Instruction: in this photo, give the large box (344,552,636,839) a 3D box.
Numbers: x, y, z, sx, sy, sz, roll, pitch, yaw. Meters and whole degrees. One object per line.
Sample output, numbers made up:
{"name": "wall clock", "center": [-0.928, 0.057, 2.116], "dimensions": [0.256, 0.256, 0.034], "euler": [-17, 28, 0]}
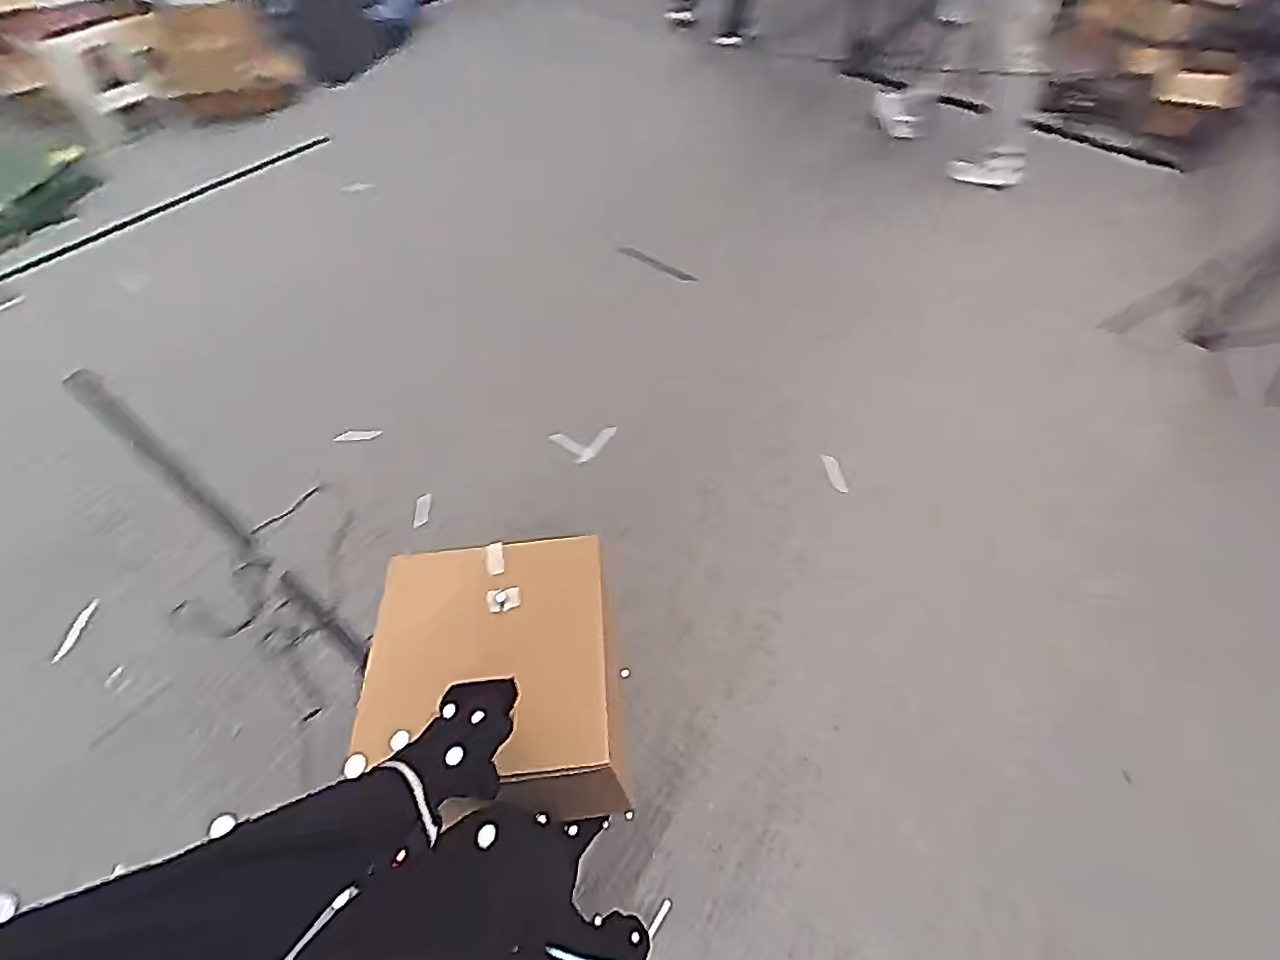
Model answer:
{"name": "large box", "center": [-0.190, 0.356, 0.859], "dimensions": [0.320, 0.408, 0.320], "euler": [-7, 53, 0]}
